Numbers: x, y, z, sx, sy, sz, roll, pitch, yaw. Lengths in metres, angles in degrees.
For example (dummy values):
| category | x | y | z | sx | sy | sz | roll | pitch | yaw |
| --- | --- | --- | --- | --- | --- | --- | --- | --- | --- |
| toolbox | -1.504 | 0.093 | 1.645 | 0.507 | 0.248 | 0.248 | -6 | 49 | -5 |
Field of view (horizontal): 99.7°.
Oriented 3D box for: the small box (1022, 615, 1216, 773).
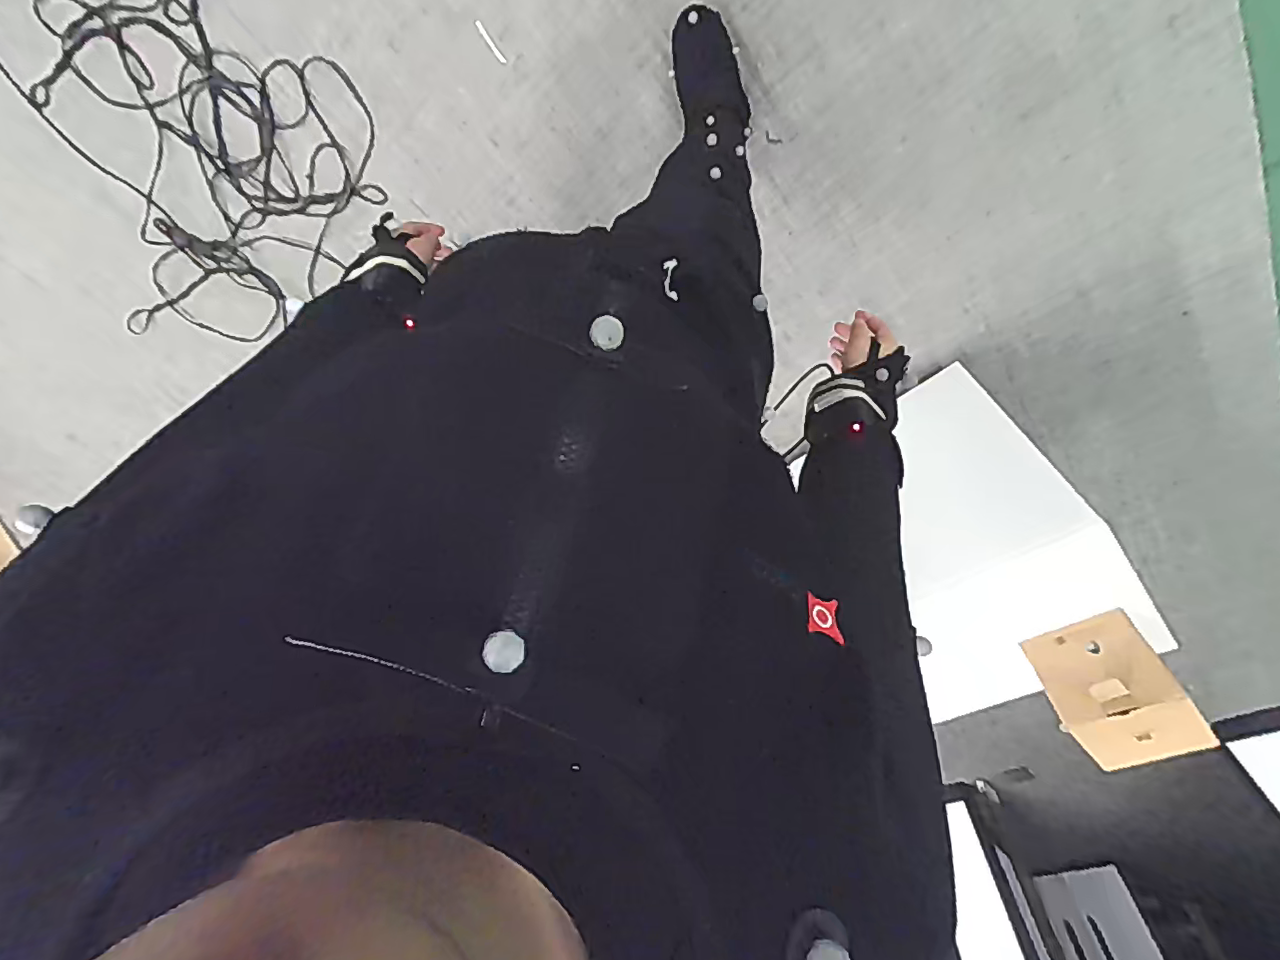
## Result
| category | x | y | z | sx | sy | sz | roll | pitch | yaw |
| --- | --- | --- | --- | --- | --- | --- | --- | --- | --- |
| small box | 0.803 | 0.363 | 0.921 | 0.168 | 0.176 | 0.179 | -36 | 115 | 28 |
